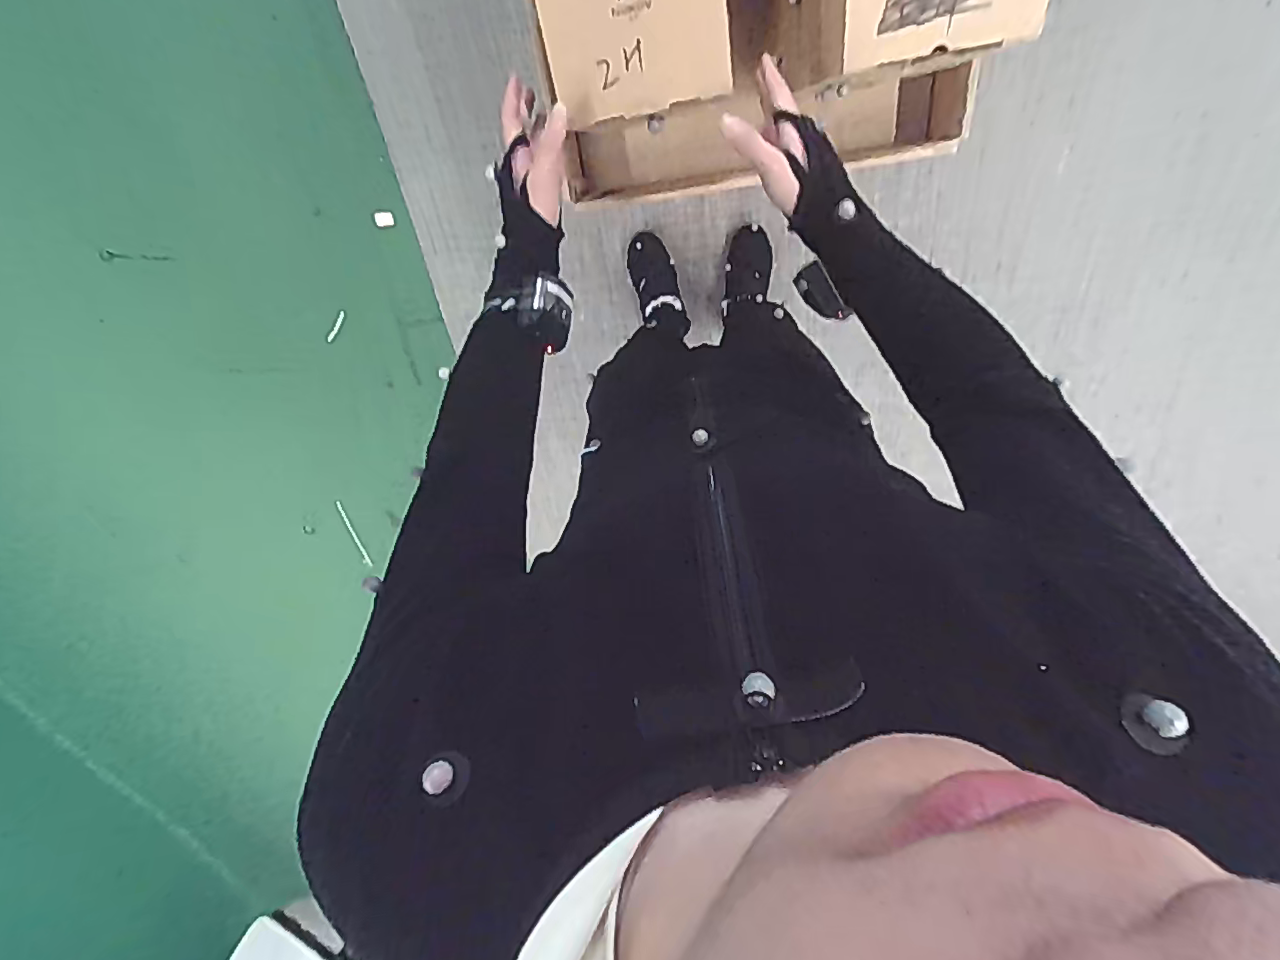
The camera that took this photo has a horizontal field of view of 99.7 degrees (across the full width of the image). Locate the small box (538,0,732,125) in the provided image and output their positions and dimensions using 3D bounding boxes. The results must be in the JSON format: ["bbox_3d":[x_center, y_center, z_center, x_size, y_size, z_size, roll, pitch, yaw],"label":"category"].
[{"bbox_3d":[-0.003,-0.467,0.532,0.168,0.176,0.179,-6,122,10],"label":"small box"}]

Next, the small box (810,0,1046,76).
[{"bbox_3d":[0.255,-0.488,0.493,0.168,0.176,0.179,-4,121,8],"label":"small box"}]
